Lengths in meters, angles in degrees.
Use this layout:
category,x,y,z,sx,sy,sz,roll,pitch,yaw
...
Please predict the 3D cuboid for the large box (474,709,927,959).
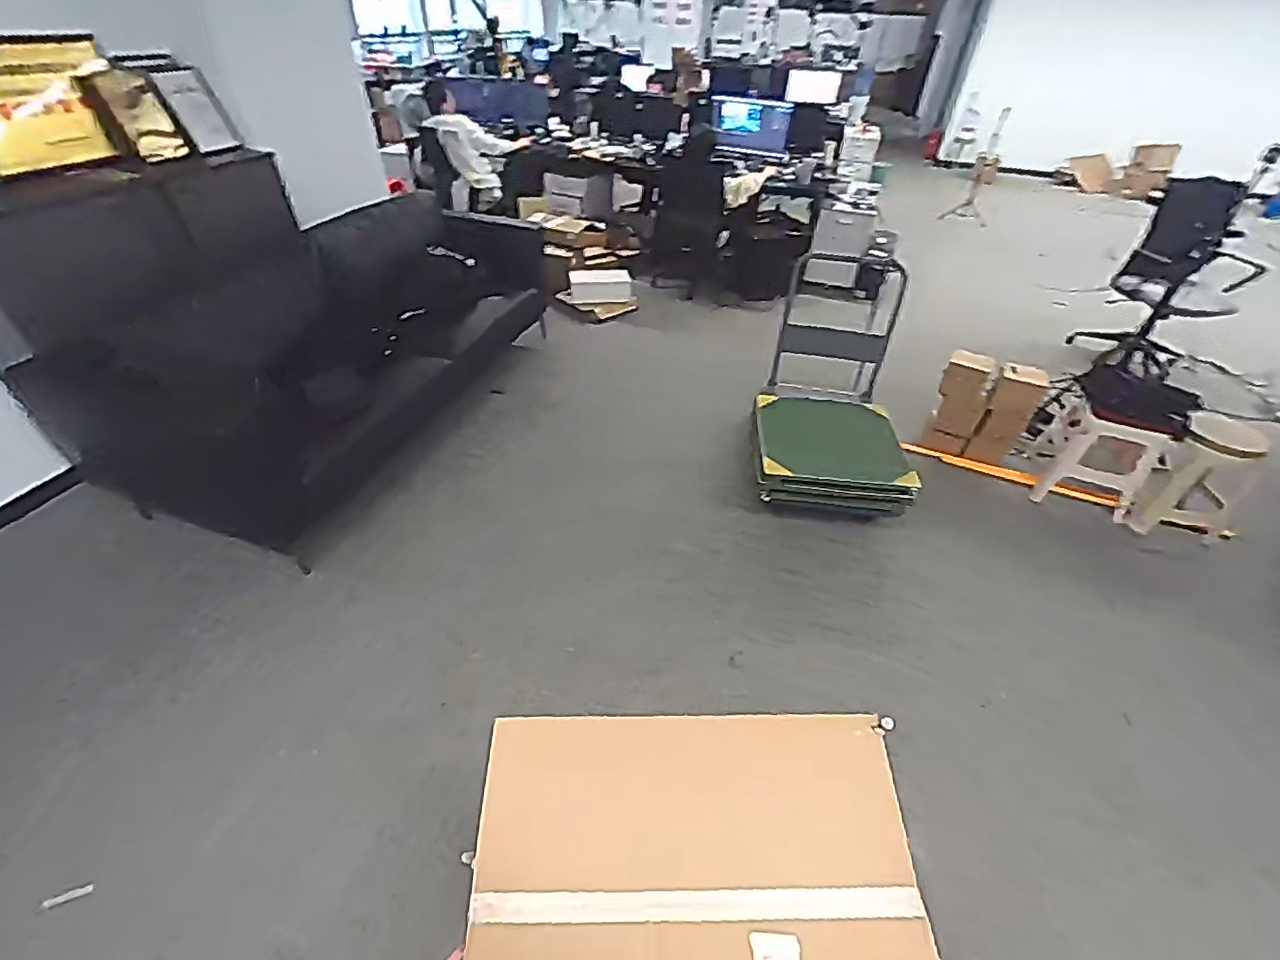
category,x,y,z,sx,sy,sz,roll,pitch,yaw
large box,0.049,0.464,0.618,0.408,0.320,0.320,-1,57,-2
